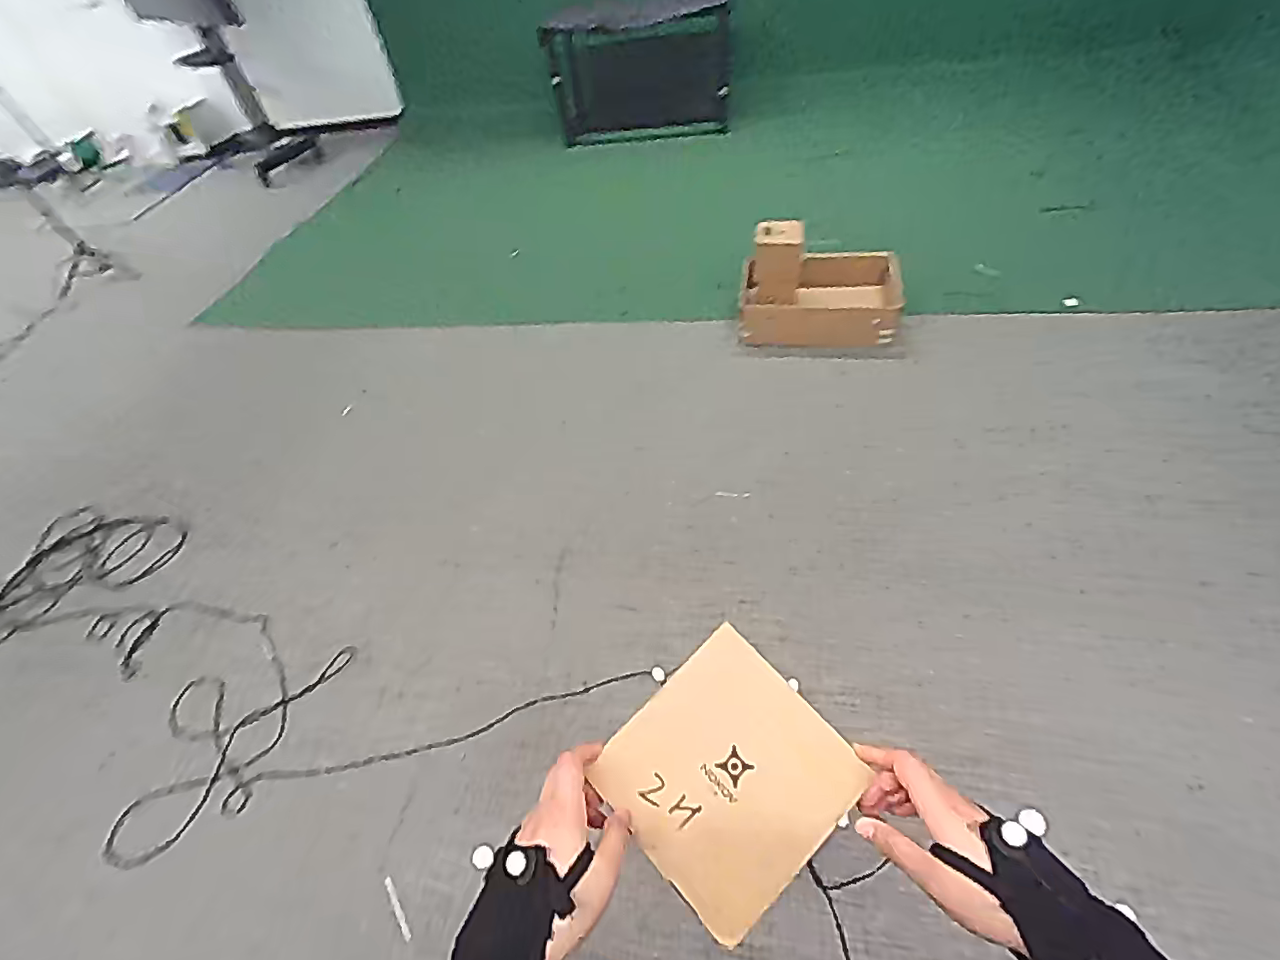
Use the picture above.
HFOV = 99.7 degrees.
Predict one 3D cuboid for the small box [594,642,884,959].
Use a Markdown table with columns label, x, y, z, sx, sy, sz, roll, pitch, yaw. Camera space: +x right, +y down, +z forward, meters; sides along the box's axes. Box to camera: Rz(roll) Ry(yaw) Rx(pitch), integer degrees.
| label | x | y | z | sx | sy | sz | roll | pitch | yaw |
| --- | --- | --- | --- | --- | --- | --- | --- | --- | --- |
| small box | 0.082 | 0.275 | 0.507 | 0.179 | 0.176 | 0.168 | -43 | 72 | -10 |

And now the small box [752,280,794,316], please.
| label | x | y | z | sx | sy | sz | roll | pitch | yaw |
| --- | --- | --- | --- | --- | --- | --- | --- | --- | --- |
| small box | 0.574 | -0.826 | 2.333 | 0.168 | 0.176 | 0.179 | 3 | 53 | 11 |

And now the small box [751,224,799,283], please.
| label | x | y | z | sx | sy | sz | roll | pitch | yaw |
| --- | --- | --- | --- | --- | --- | --- | --- | --- | --- |
| small box | 0.548 | -0.921 | 2.201 | 0.179 | 0.176 | 0.168 | 4 | 53 | 11 |
